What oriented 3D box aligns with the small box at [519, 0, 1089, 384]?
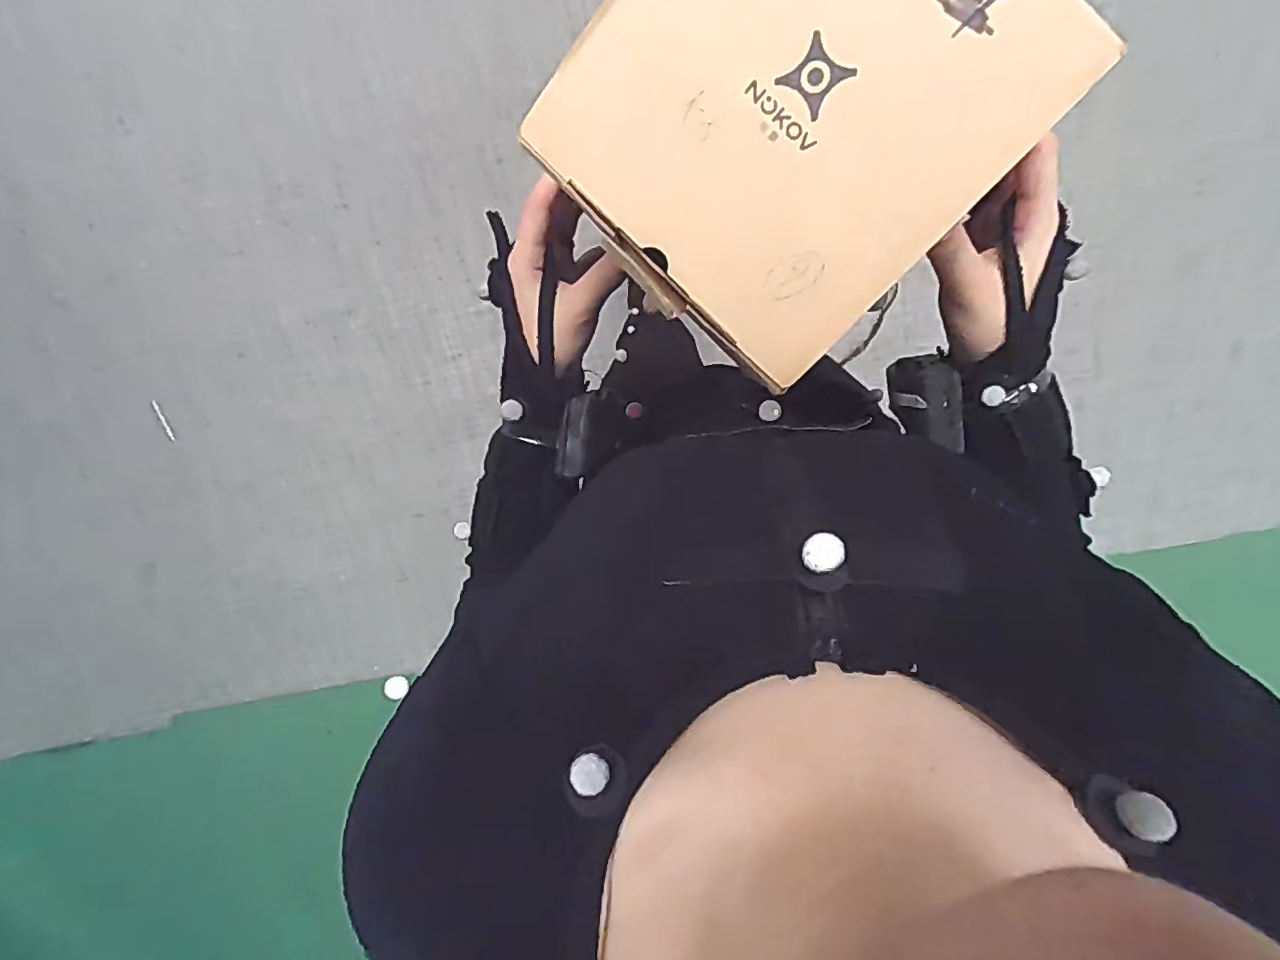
[{"bbox_3d":[0.071,-0.176,0.302,0.168,0.176,0.179,43,106,-3],"label":"small box"}]
